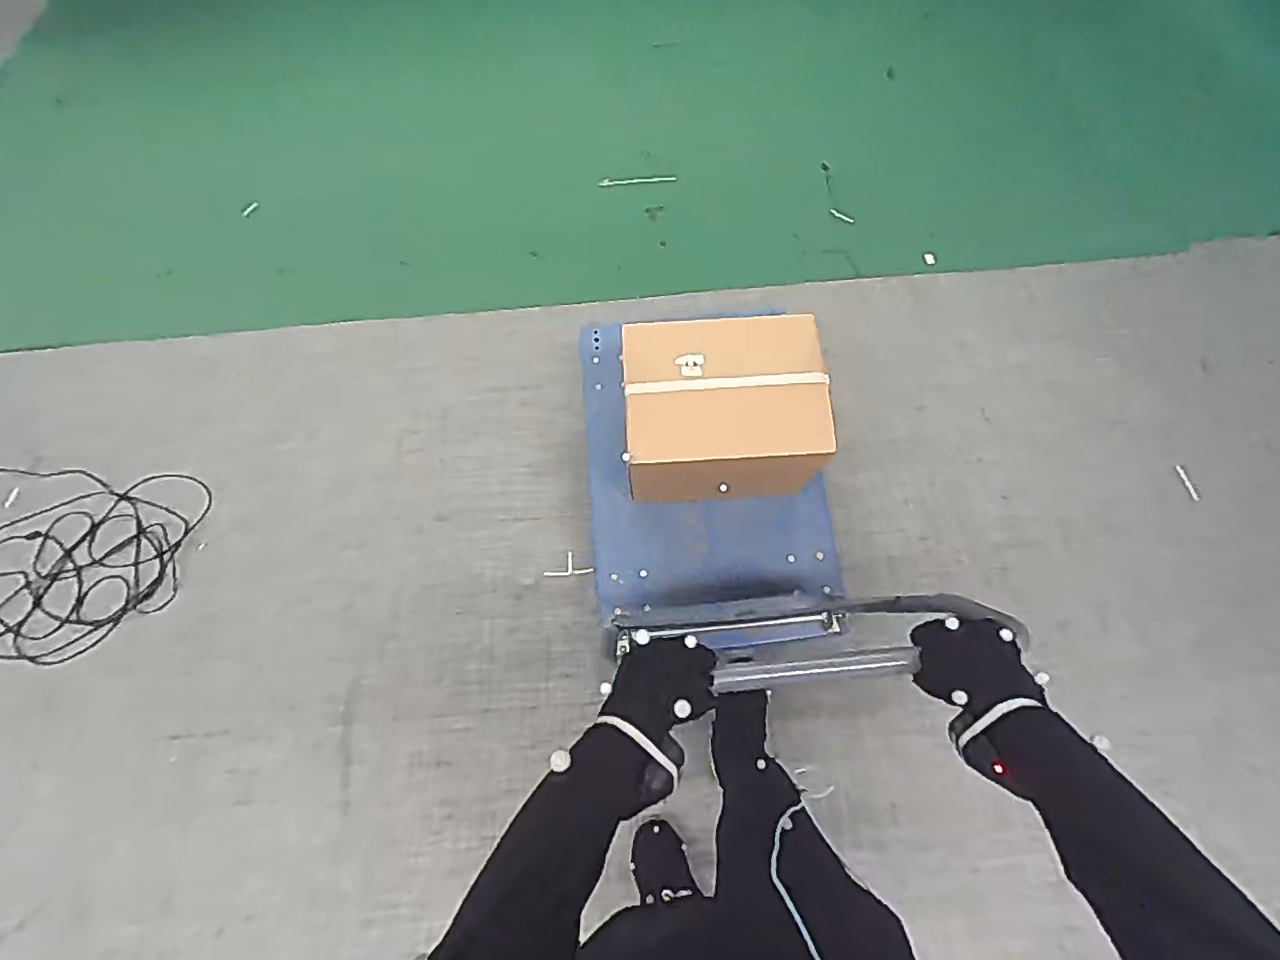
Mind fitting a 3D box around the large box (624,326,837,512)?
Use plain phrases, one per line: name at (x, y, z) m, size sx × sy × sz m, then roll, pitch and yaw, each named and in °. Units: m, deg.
large box at (0.182, -0.120, 1.229) m, size 0.408 × 0.320 × 0.320 m, roll -4°, pitch 72°, yaw 1°
